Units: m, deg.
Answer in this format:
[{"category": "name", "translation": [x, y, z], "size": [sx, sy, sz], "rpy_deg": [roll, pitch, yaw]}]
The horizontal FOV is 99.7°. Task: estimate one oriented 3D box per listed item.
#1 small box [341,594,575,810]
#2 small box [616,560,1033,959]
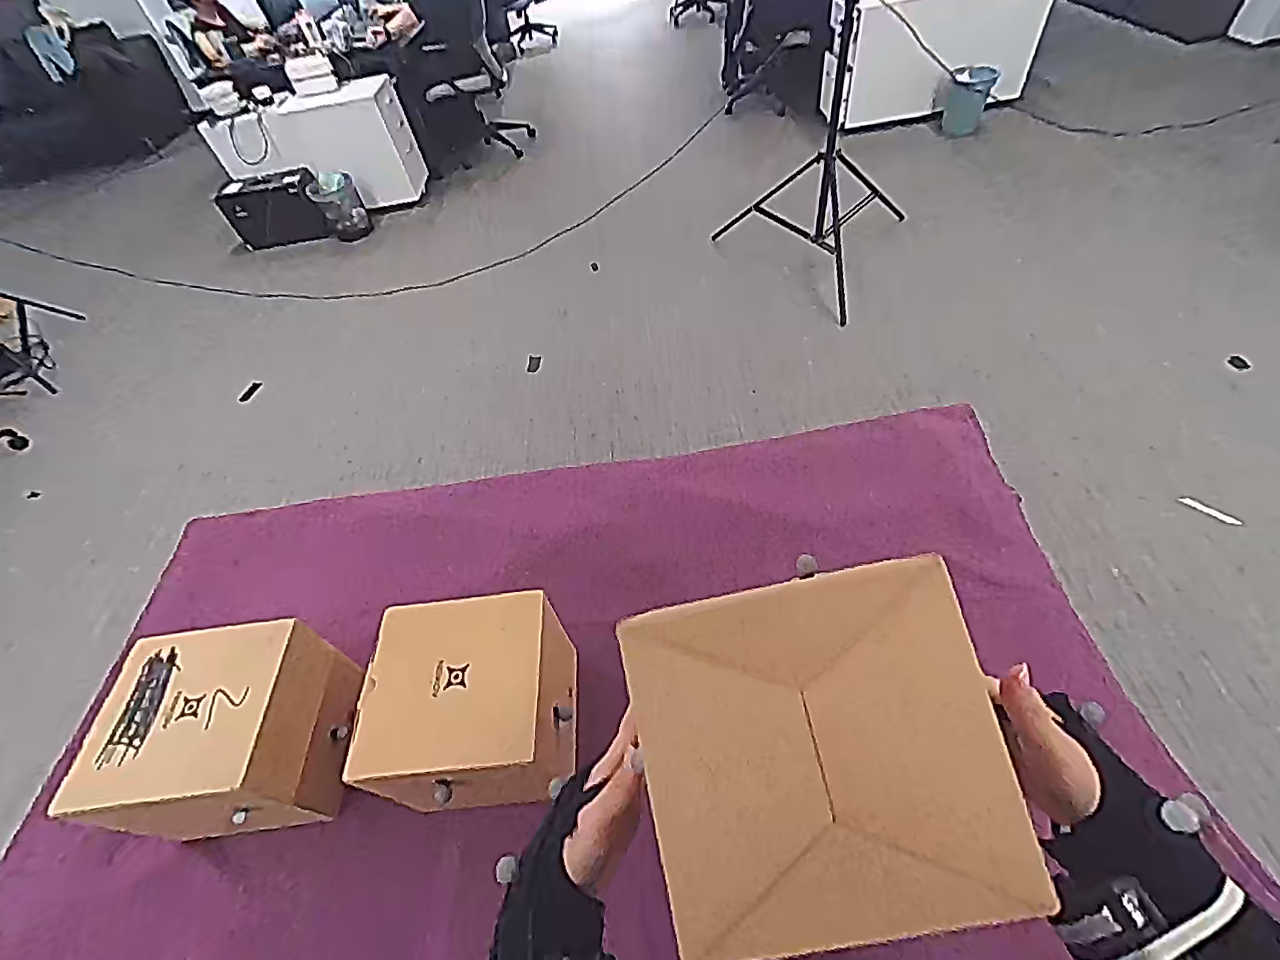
[{"category": "small box", "translation": [-0.169, 0.241, 0.577], "size": [0.179, 0.176, 0.168], "rpy_deg": [-8, 50, 4]}, {"category": "small box", "translation": [0.097, 0.153, 0.343], "size": [0.179, 0.176, 0.168], "rpy_deg": [-14, 80, 5]}]
